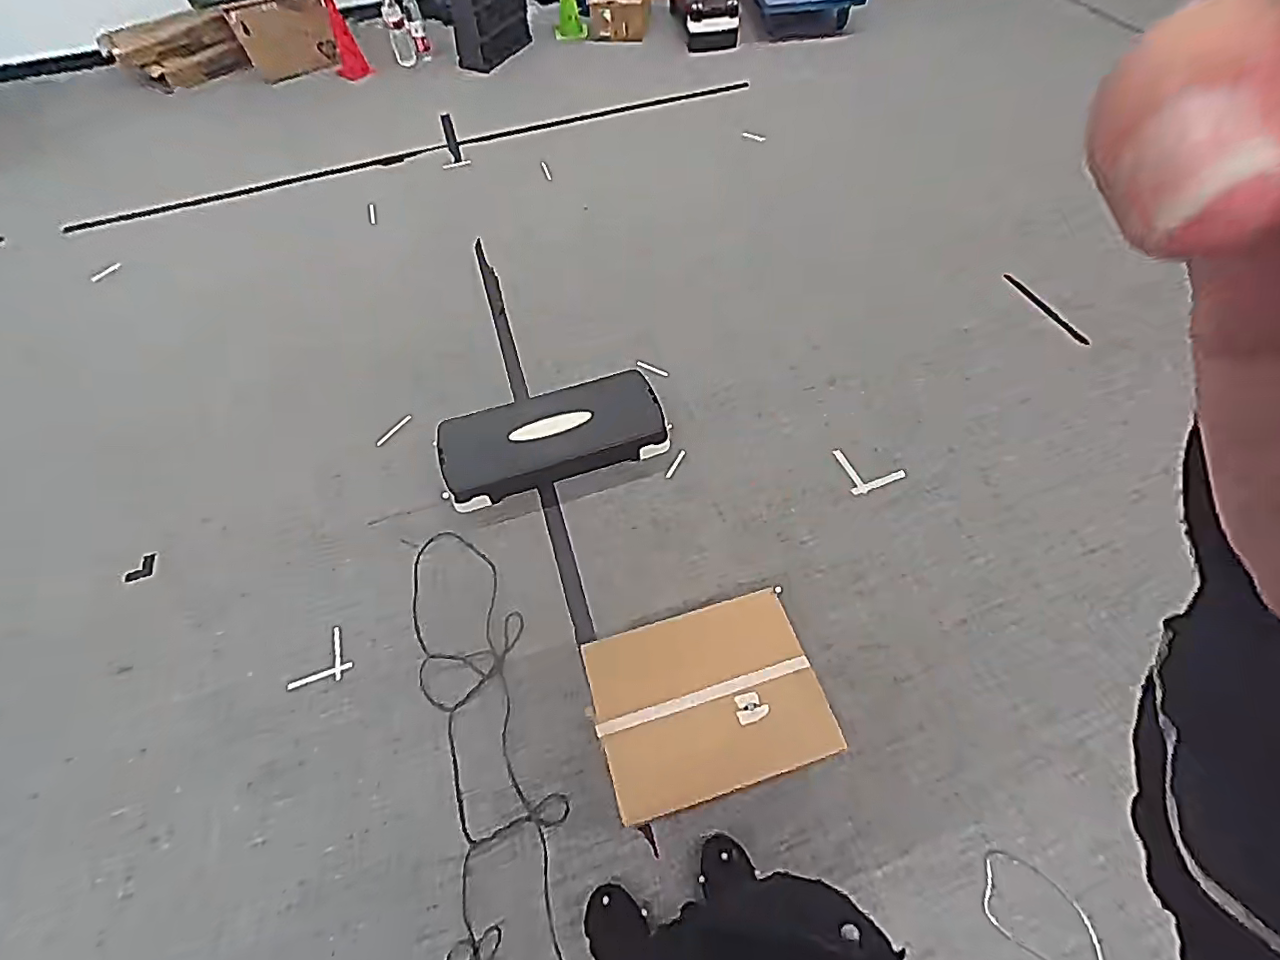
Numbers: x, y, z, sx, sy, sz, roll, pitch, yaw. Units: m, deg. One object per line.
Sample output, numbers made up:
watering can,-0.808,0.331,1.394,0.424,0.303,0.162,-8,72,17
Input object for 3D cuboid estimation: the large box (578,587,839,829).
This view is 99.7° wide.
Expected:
large box,0.116,0.469,1.103,0.408,0.320,0.320,-15,58,-8
